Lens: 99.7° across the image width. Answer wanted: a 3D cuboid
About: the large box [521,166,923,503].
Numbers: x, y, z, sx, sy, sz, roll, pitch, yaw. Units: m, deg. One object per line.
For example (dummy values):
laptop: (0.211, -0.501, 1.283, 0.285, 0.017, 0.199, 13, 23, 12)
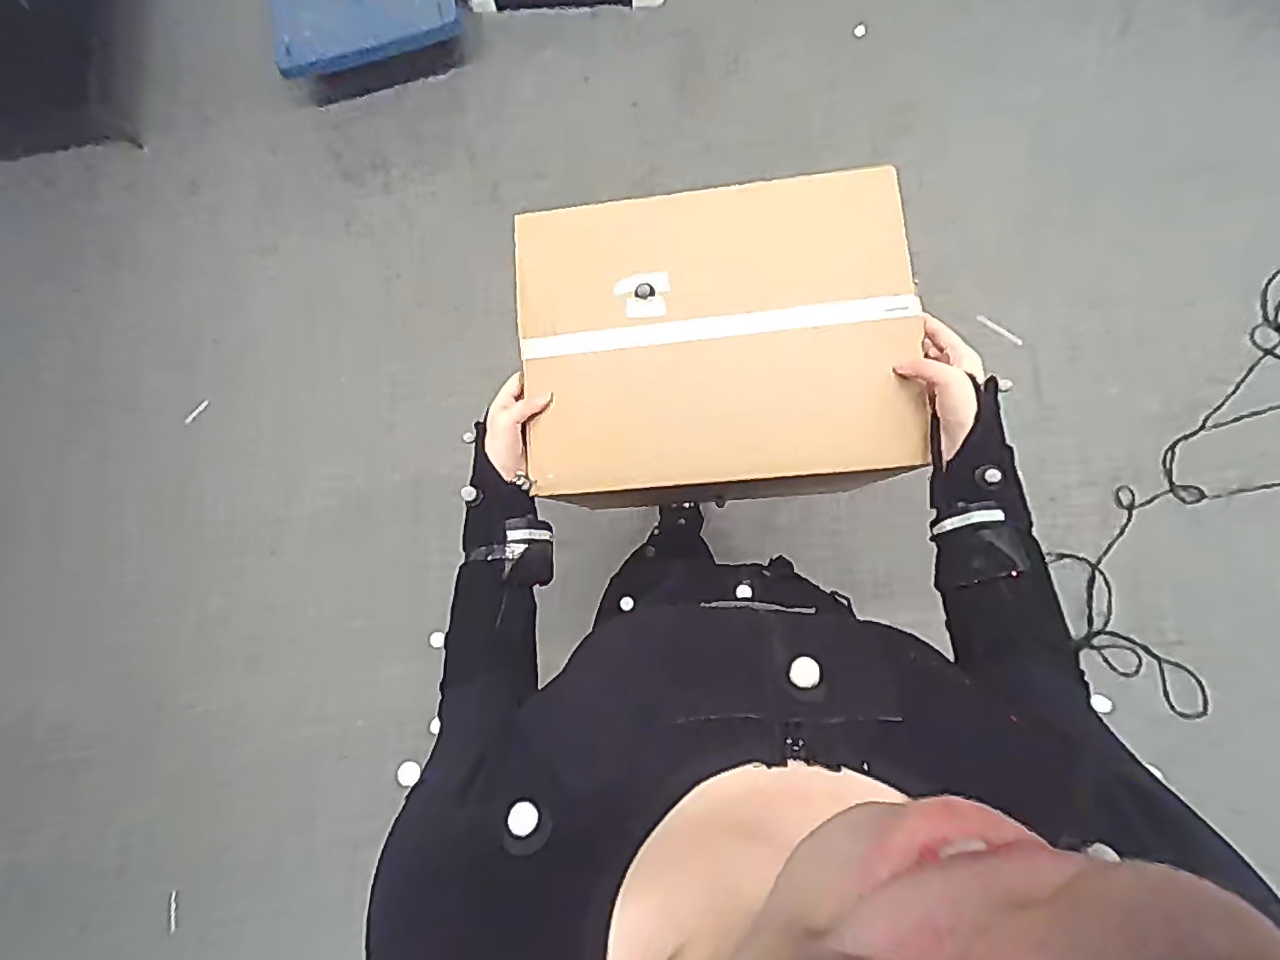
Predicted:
large box: (0.094, -0.145, 0.719, 0.408, 0.320, 0.320, -5, 83, 7)
